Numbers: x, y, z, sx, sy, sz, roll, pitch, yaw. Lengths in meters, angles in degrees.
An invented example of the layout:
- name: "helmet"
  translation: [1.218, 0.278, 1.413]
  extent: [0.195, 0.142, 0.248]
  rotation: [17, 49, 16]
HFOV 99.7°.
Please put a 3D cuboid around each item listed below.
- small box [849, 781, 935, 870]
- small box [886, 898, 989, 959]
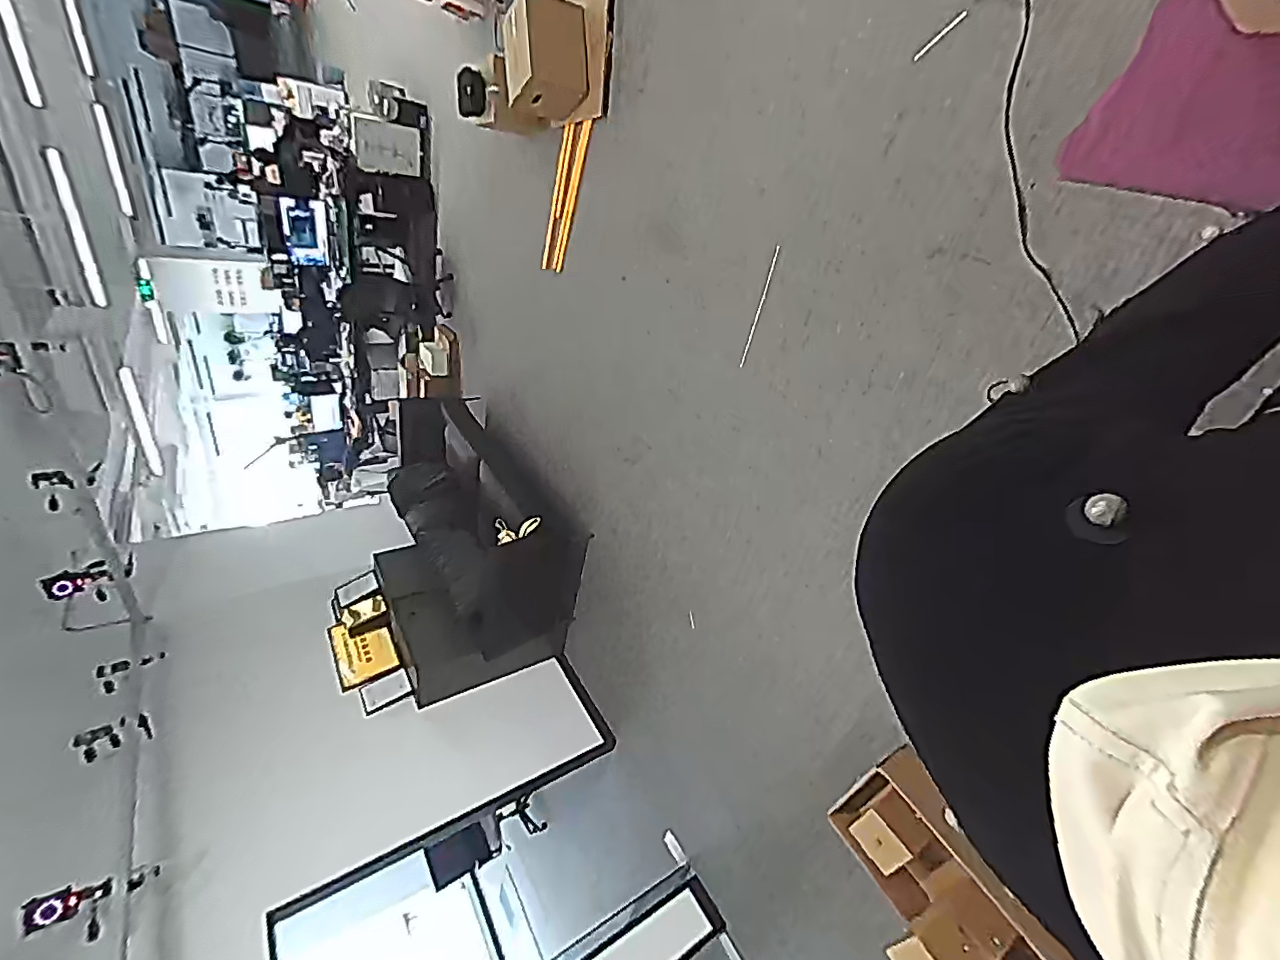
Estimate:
- name: "small box"
  translation: [0.858, 1.168, 1.835]
  extent: [0.168, 0.176, 0.179]
  rotation: [49, 136, 36]
- name: "small box"
  translation: [0.871, 1.374, 1.579]
  extent: [0.168, 0.176, 0.179]
  rotation: [51, 138, 37]
